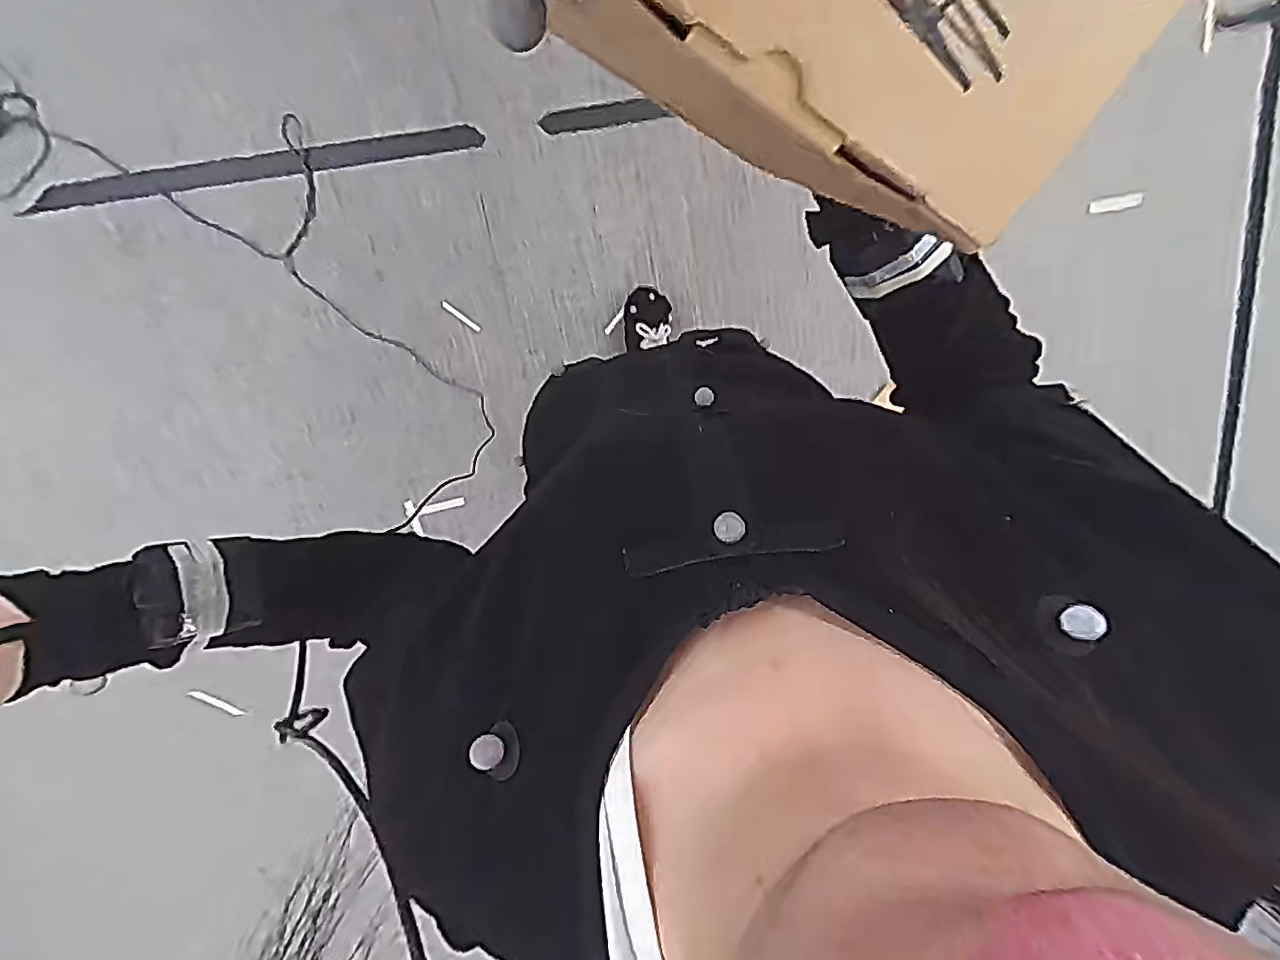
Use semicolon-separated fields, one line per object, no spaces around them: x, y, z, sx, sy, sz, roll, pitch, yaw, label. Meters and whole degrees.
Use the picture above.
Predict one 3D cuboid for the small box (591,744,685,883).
-0.009;0.672;1.112;0.168;0.176;0.179;-8;104;-3;small box
